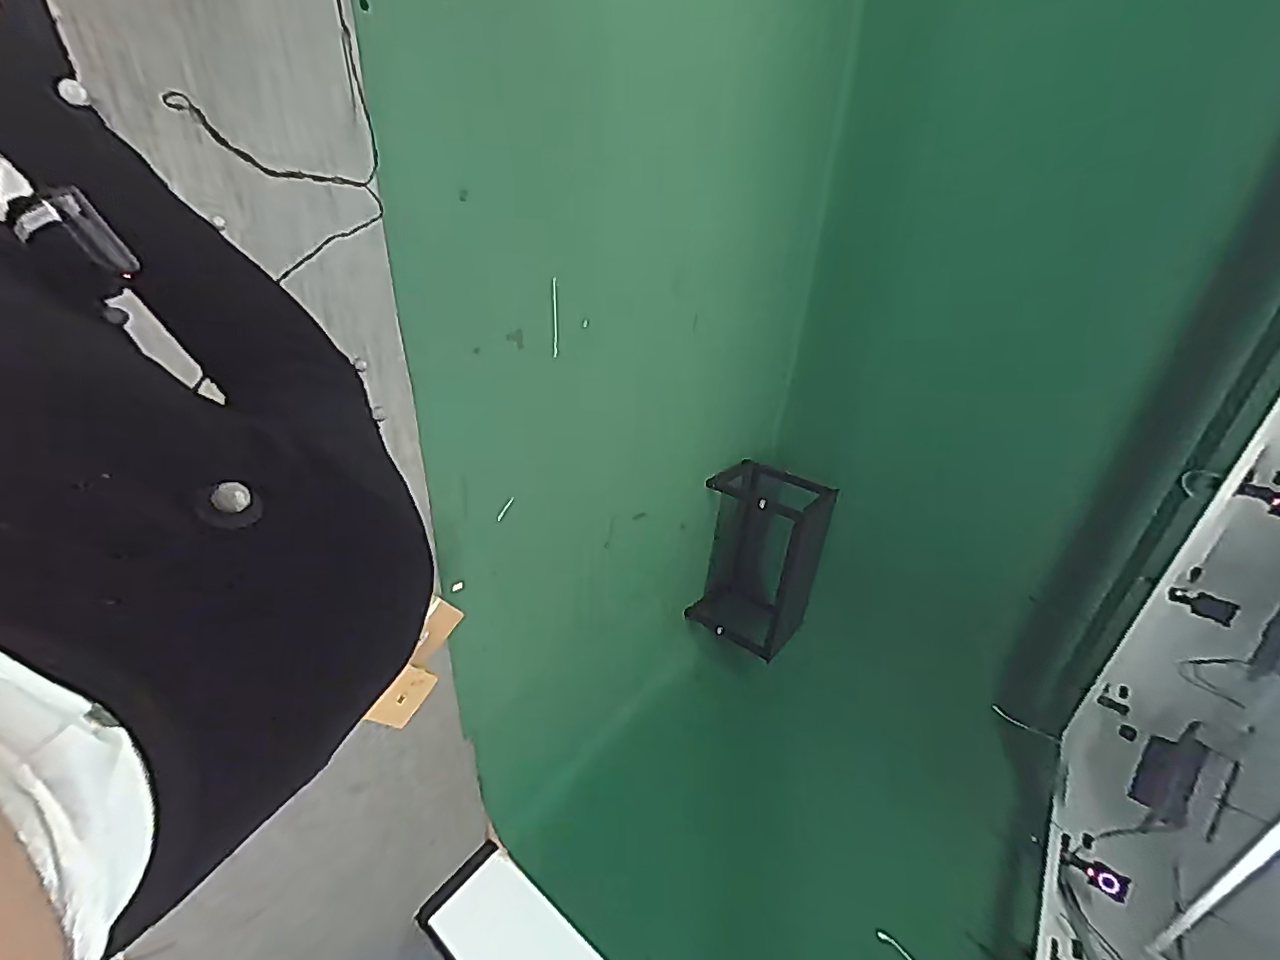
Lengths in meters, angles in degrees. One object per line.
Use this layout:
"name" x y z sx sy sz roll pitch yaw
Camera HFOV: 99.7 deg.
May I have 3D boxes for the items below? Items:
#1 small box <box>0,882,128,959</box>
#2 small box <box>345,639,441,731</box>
"small box" -1.233 1.016 1.158 0.168 0.176 0.179 -16 120 -50
"small box" -0.747 0.612 1.619 0.179 0.176 0.168 -55 145 -19
